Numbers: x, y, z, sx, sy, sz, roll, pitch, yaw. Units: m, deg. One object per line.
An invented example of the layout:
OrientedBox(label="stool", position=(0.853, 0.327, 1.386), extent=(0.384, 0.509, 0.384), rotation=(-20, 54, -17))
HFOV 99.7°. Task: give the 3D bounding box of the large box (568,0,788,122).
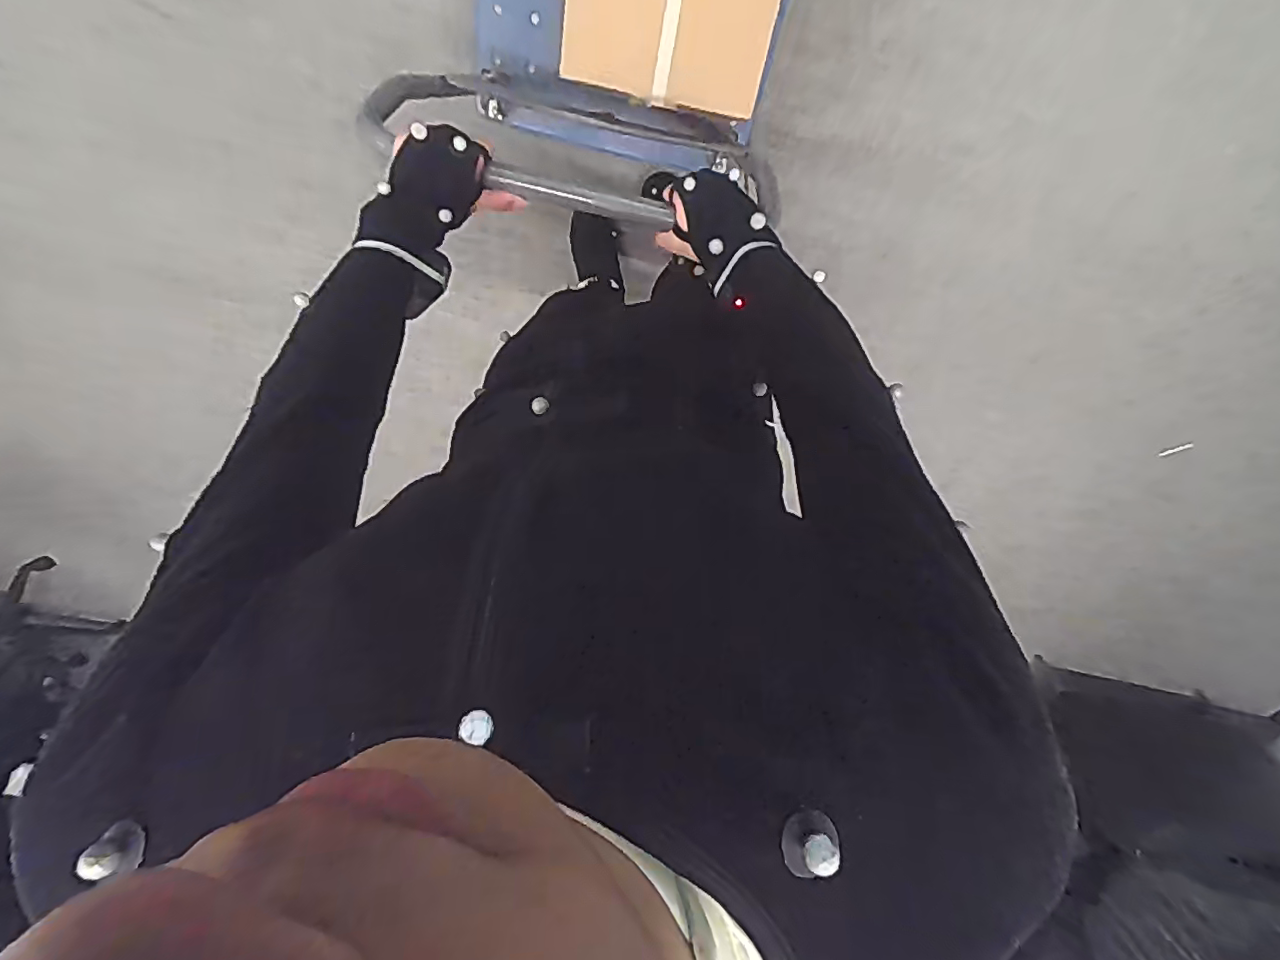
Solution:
OrientedBox(label="large box", position=(0.076, -0.847, 0.876), extent=(0.320, 0.320, 0.408), rotation=(10, 122, -6))
